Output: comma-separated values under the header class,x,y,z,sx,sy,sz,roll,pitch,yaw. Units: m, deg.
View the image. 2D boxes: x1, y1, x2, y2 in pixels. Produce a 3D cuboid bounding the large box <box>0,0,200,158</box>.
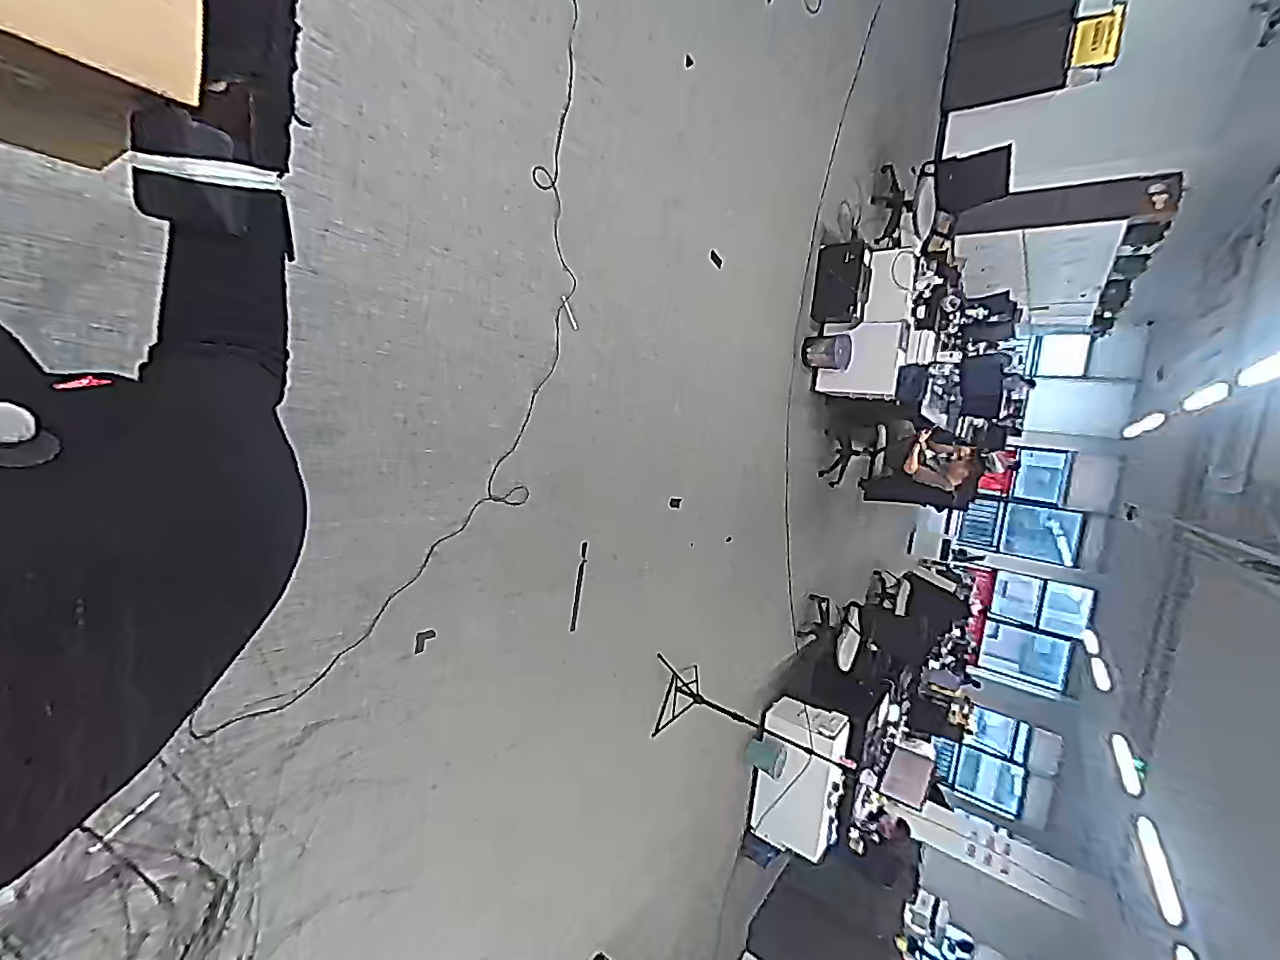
class,x,y,z,sx,sy,sz,roll,pitch,yaw
large box,-0.494,-0.406,0.242,0.408,0.320,0.320,-4,106,-53
